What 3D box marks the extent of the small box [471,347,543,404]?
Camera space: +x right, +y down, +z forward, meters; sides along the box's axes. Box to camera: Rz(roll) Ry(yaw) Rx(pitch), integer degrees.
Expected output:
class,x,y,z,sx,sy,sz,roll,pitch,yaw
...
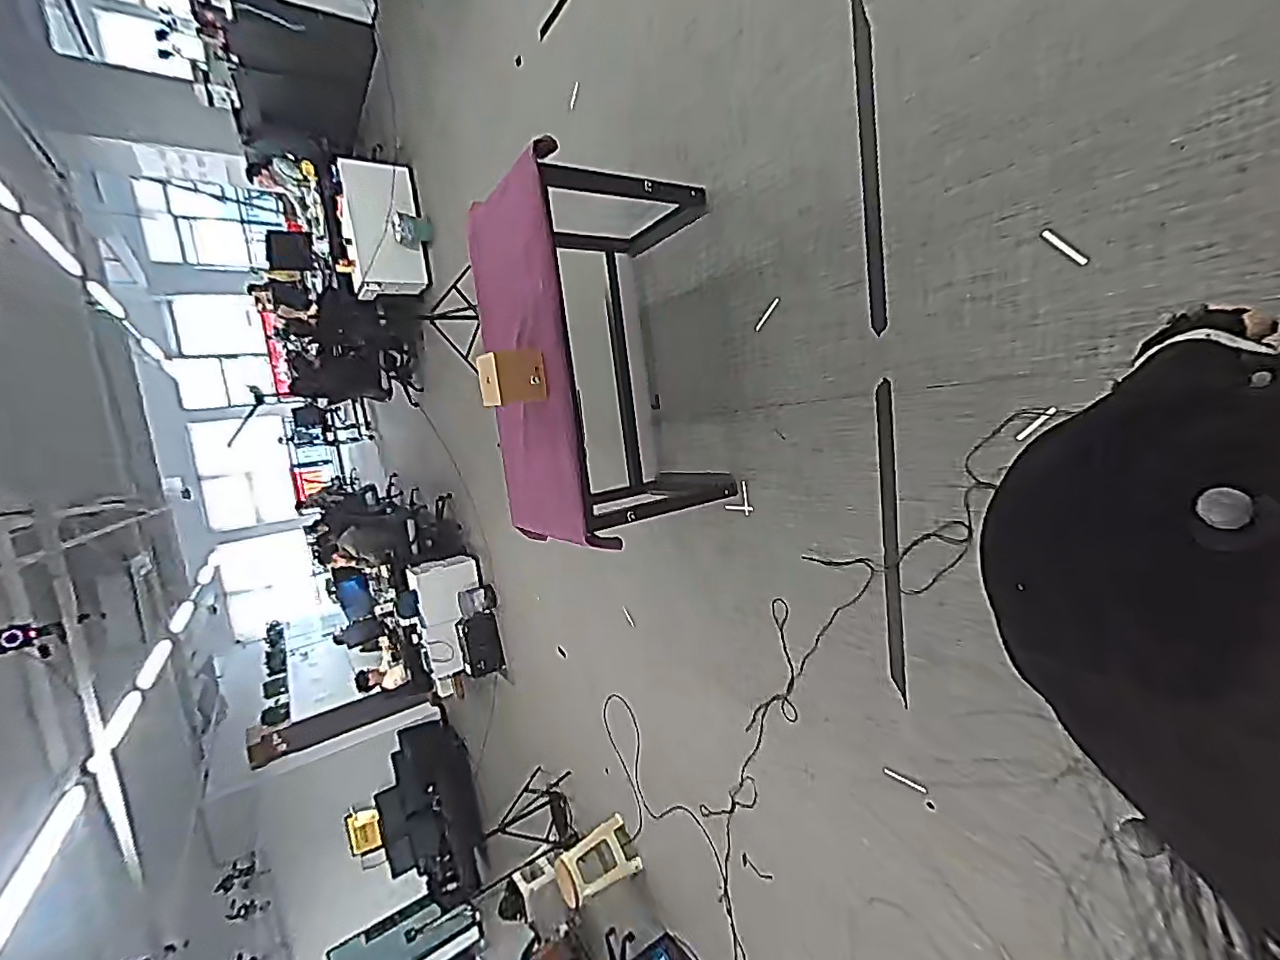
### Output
class,x,y,z,sx,sy,sz,roll,pitch,yaw
small box,-0.436,-0.343,1.781,0.179,0.176,0.168,7,107,54
